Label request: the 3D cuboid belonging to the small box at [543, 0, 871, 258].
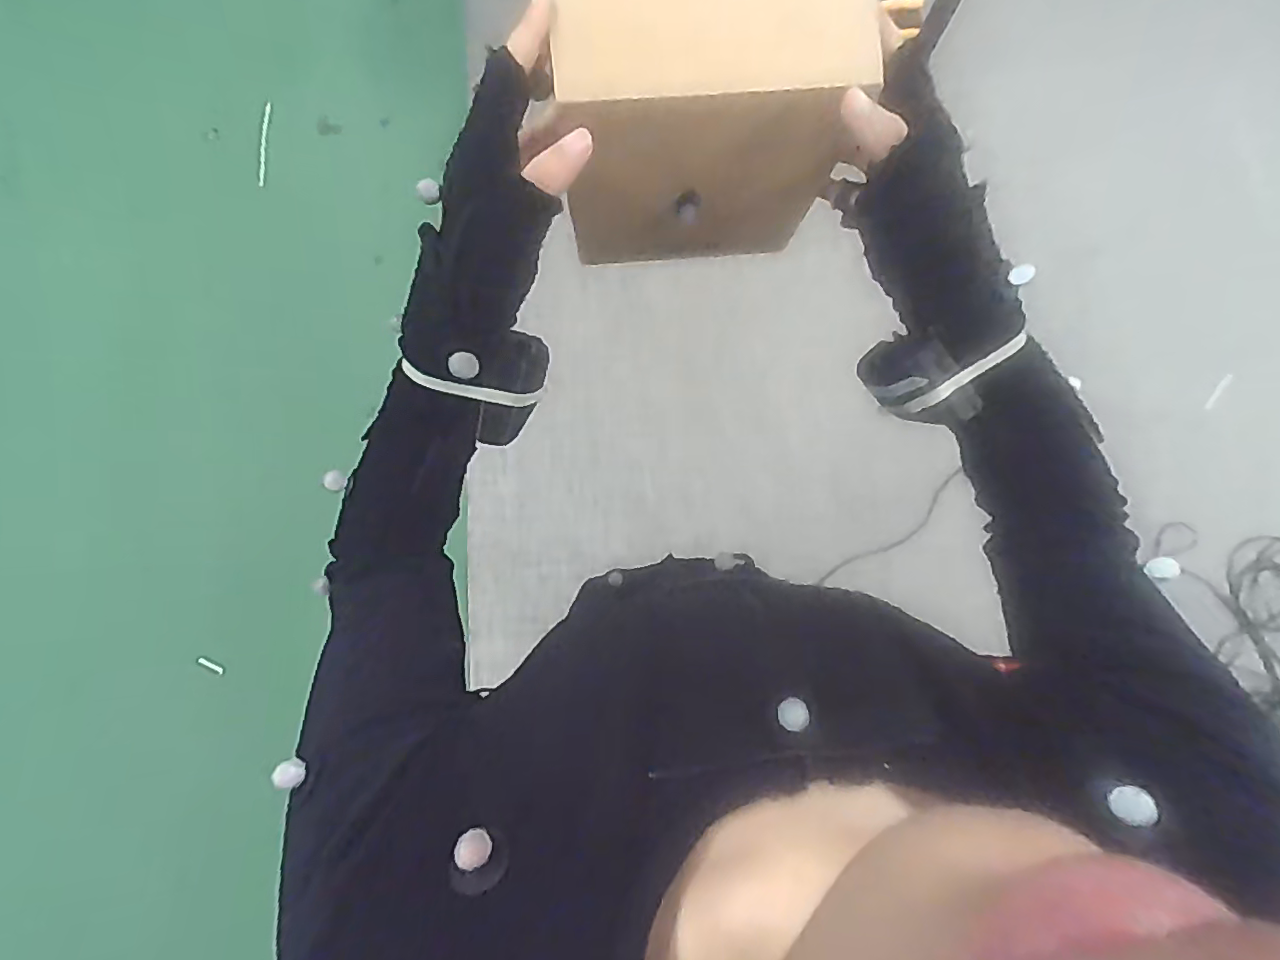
[{"bbox_3d":[0.029,-0.264,0.358,0.168,0.176,0.179,-4,84,-2],"label":"small box"}]
